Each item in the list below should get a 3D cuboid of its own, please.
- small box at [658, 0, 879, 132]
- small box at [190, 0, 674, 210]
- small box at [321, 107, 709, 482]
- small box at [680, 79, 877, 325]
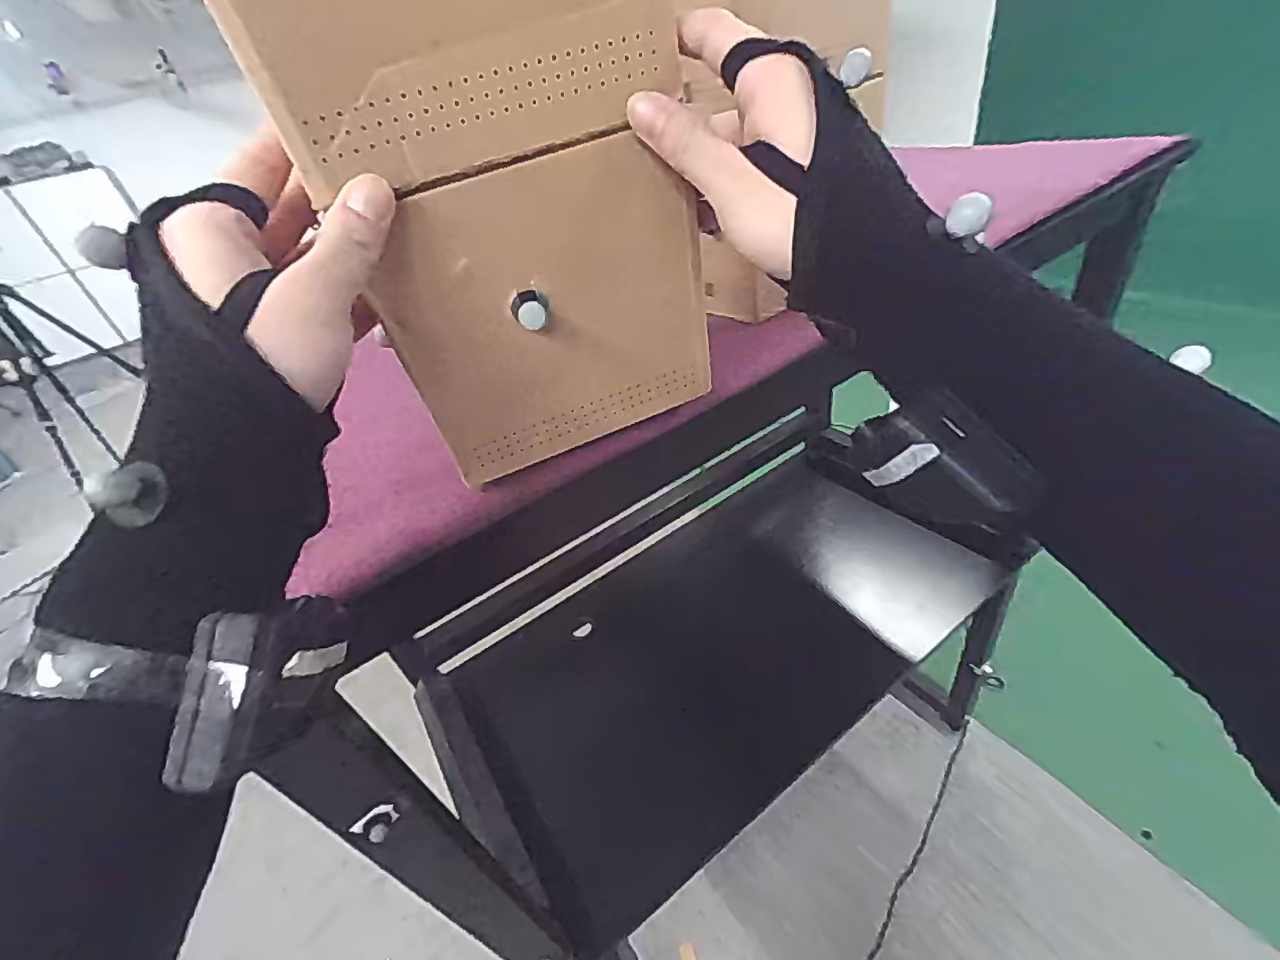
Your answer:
[{"bbox_3d":[0.079,-0.400,0.443,0.179,0.176,0.168,-32,40,-21],"label":"small box"},{"bbox_3d":[-0.101,-0.240,0.236,0.179,0.176,0.168,-23,45,-11],"label":"small box"},{"bbox_3d":[-0.071,-0.127,0.350,0.179,0.176,0.168,-24,46,-9],"label":"small box"},{"bbox_3d":[0.110,-0.271,0.540,0.179,0.176,0.168,-30,40,-22],"label":"small box"}]
